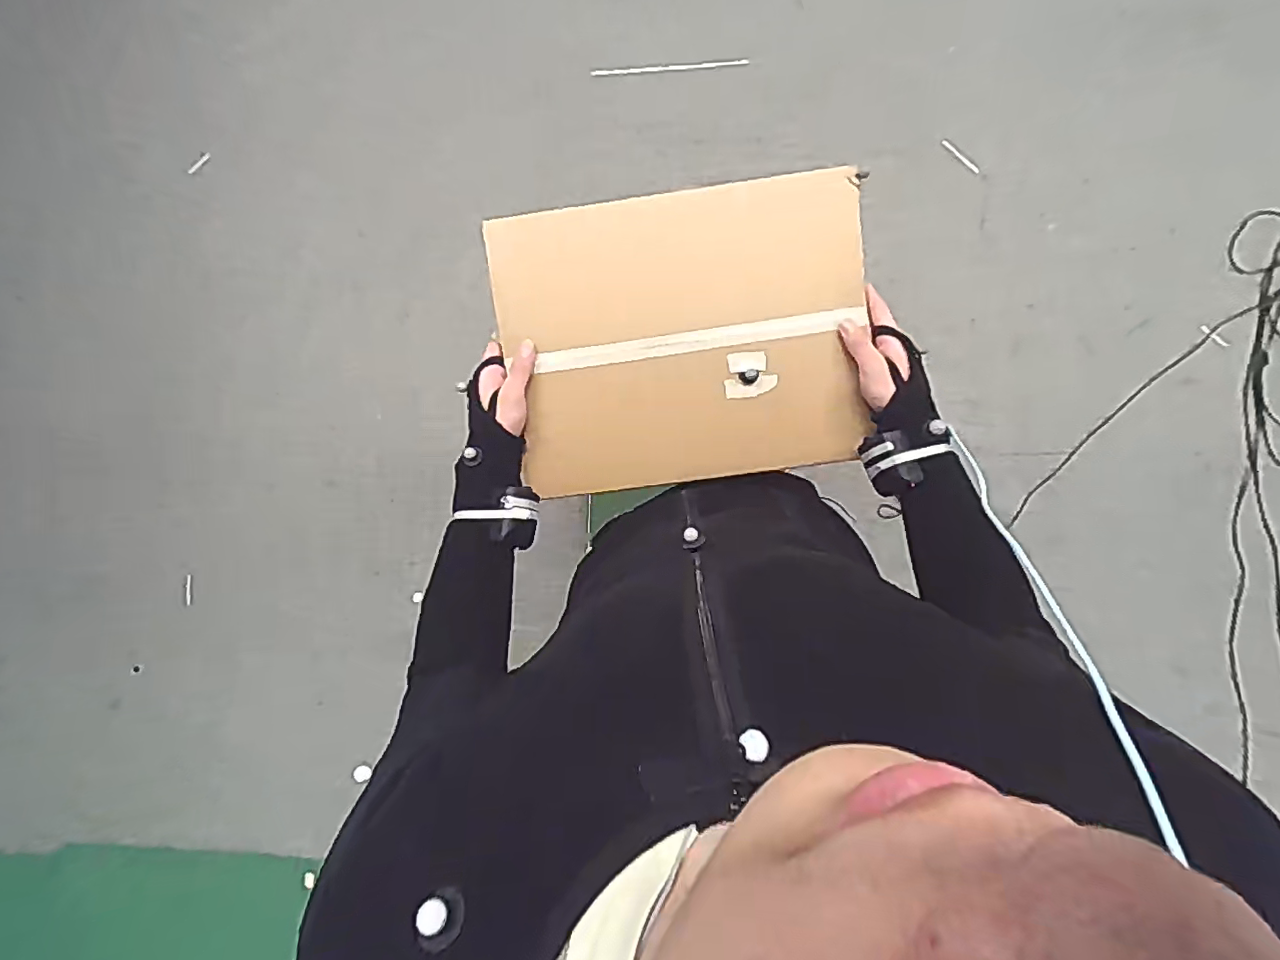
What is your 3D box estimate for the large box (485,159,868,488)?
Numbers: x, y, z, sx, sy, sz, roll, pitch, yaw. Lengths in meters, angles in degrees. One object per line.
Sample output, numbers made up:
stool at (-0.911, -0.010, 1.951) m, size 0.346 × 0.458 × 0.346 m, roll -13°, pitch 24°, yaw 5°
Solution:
large box at (0.046, -0.189, 0.755) m, size 0.408 × 0.320 × 0.320 m, roll -8°, pitch 99°, yaw 1°
